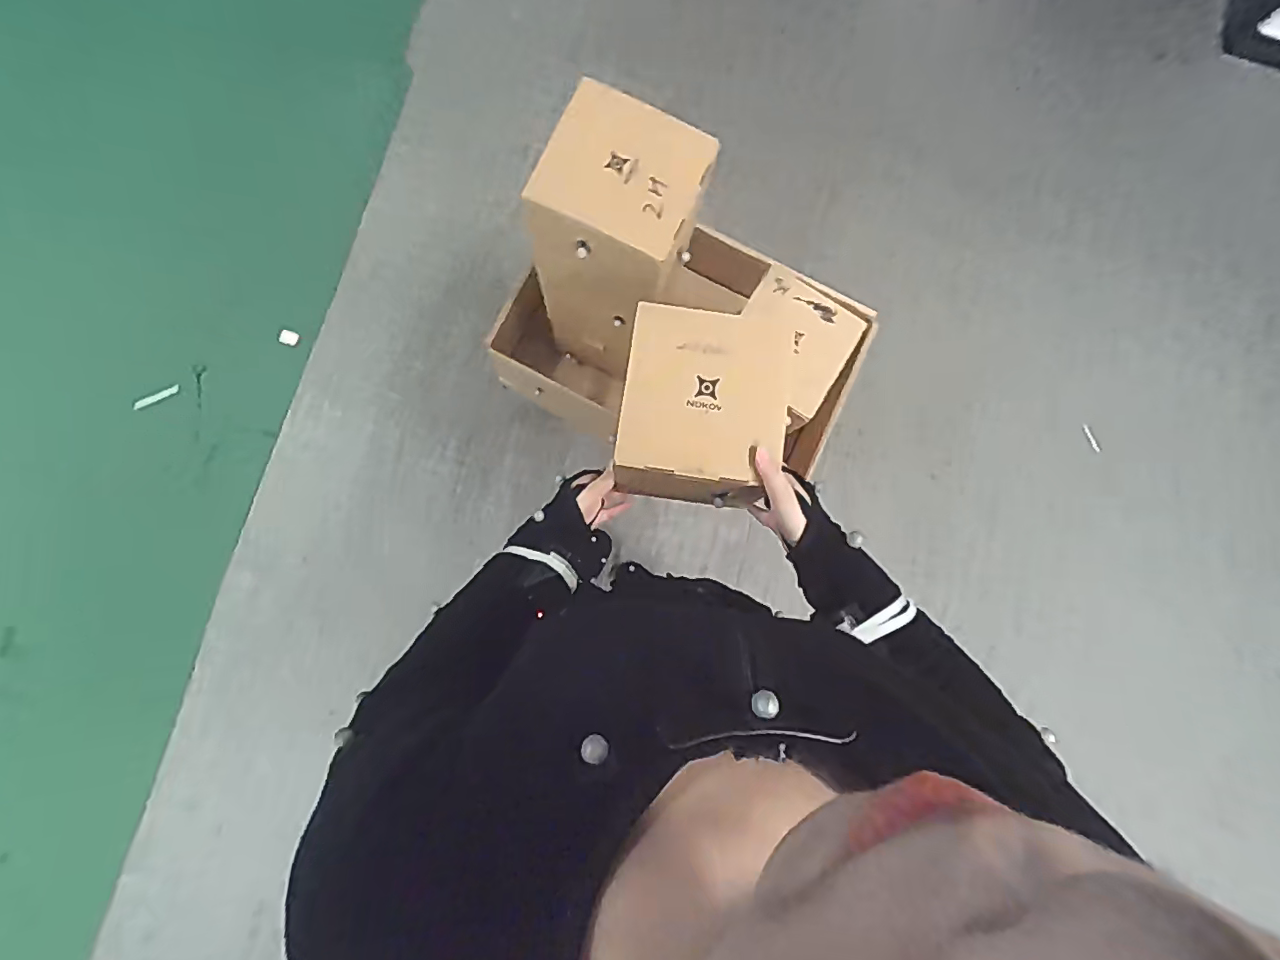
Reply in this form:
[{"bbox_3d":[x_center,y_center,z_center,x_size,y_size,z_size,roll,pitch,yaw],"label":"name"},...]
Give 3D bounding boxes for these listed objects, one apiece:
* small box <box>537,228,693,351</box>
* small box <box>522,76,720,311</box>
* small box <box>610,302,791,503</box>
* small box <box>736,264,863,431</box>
[{"bbox_3d":[-0.042,-0.327,0.848,0.179,0.176,0.168,26,82,-3],"label":"small box"},{"bbox_3d":[-0.026,-0.342,0.684,0.179,0.176,0.168,25,83,-3],"label":"small box"},{"bbox_3d":[0.062,-0.075,0.619,0.168,0.176,0.179,8,80,0],"label":"small box"},{"bbox_3d":[0.205,-0.191,0.849,0.168,0.176,0.179,33,83,-1],"label":"small box"}]
